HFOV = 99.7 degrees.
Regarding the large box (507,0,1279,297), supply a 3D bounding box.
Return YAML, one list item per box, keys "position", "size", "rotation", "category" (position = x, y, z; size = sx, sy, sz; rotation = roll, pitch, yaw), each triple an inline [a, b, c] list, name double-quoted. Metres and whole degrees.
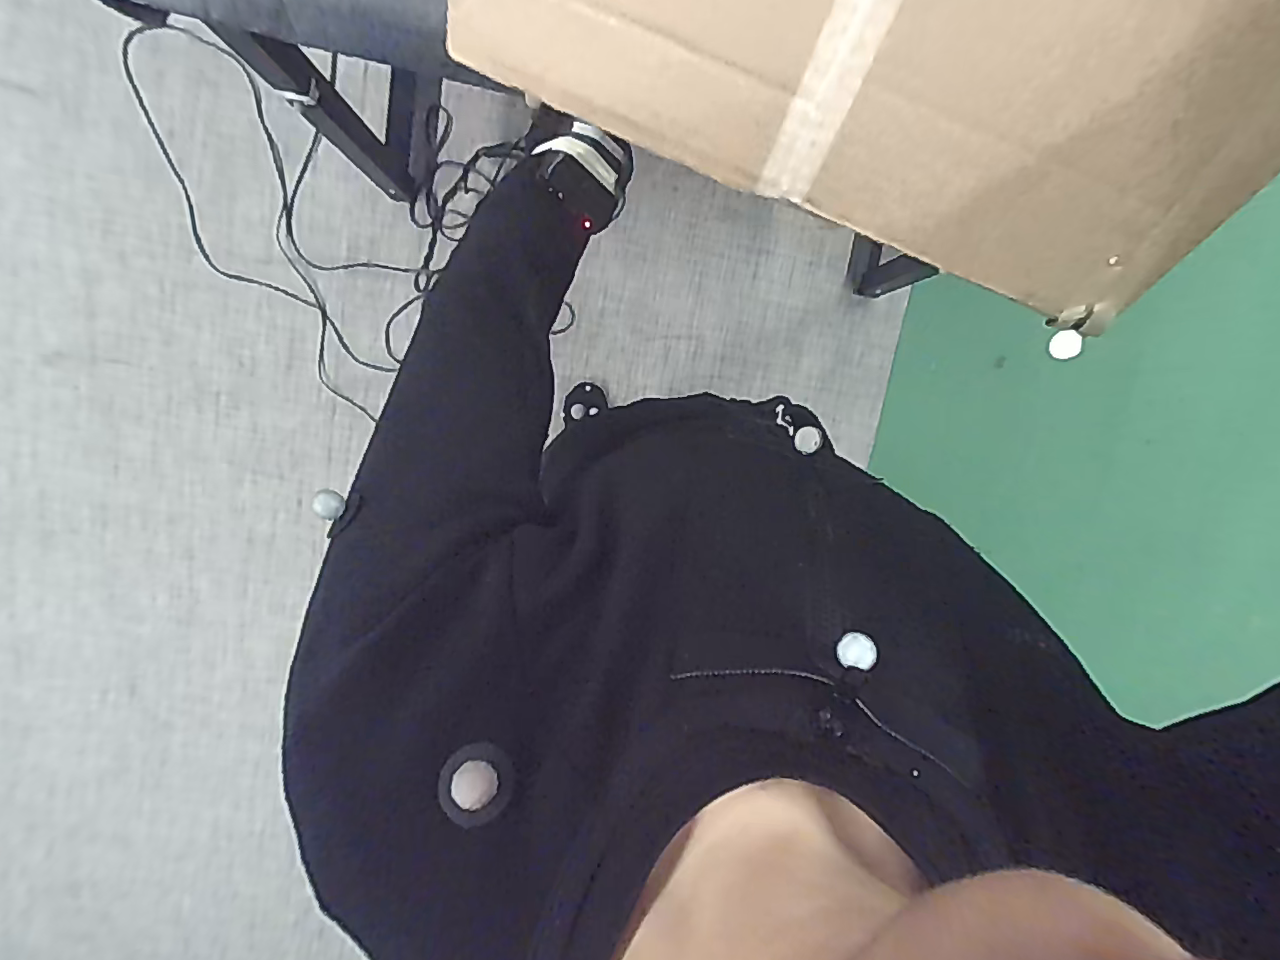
- position: [0.164, -0.366, 0.203]
  size: [0.320, 0.320, 0.408]
  rotation: [22, 139, -1]
  category: "large box"
